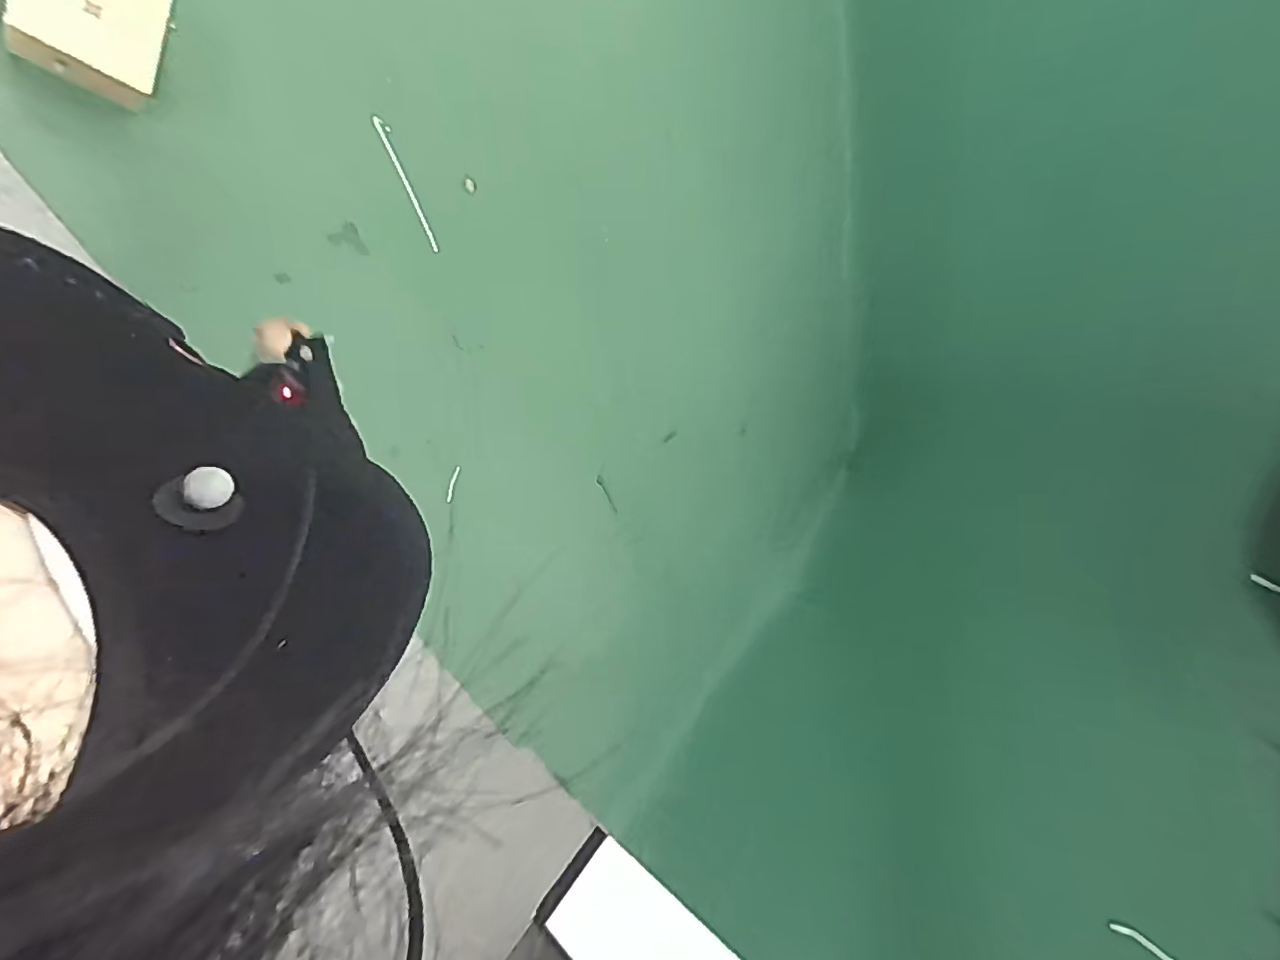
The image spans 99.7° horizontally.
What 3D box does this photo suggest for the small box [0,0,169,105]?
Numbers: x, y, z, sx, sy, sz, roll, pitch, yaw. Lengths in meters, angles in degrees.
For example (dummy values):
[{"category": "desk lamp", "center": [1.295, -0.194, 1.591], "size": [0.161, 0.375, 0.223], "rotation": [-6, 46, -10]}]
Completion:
[{"category": "small box", "center": [-0.910, -0.764, 0.892], "size": [0.168, 0.176, 0.179], "rotation": [11, 96, -50]}]
